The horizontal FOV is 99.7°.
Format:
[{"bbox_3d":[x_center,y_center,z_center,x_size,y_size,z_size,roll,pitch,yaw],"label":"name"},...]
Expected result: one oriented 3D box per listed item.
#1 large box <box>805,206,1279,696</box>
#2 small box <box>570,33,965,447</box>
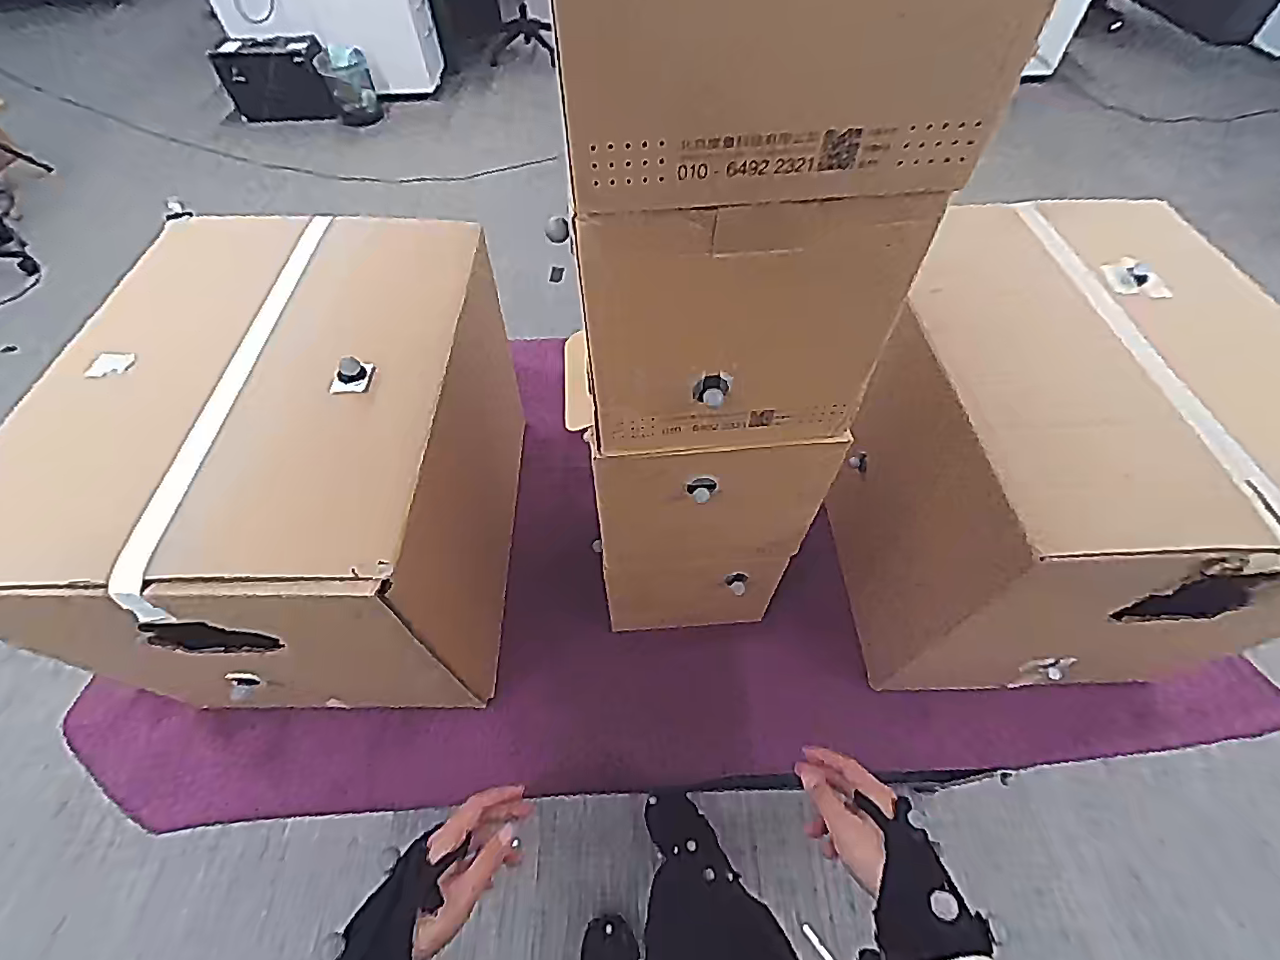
[{"bbox_3d":[0.390,-0.028,0.563,0.320,0.320,0.408,-2,54,-1],"label":"large box"},{"bbox_3d":[0.047,-0.142,0.333,0.168,0.176,0.179,-5,56,-3],"label":"small box"}]
